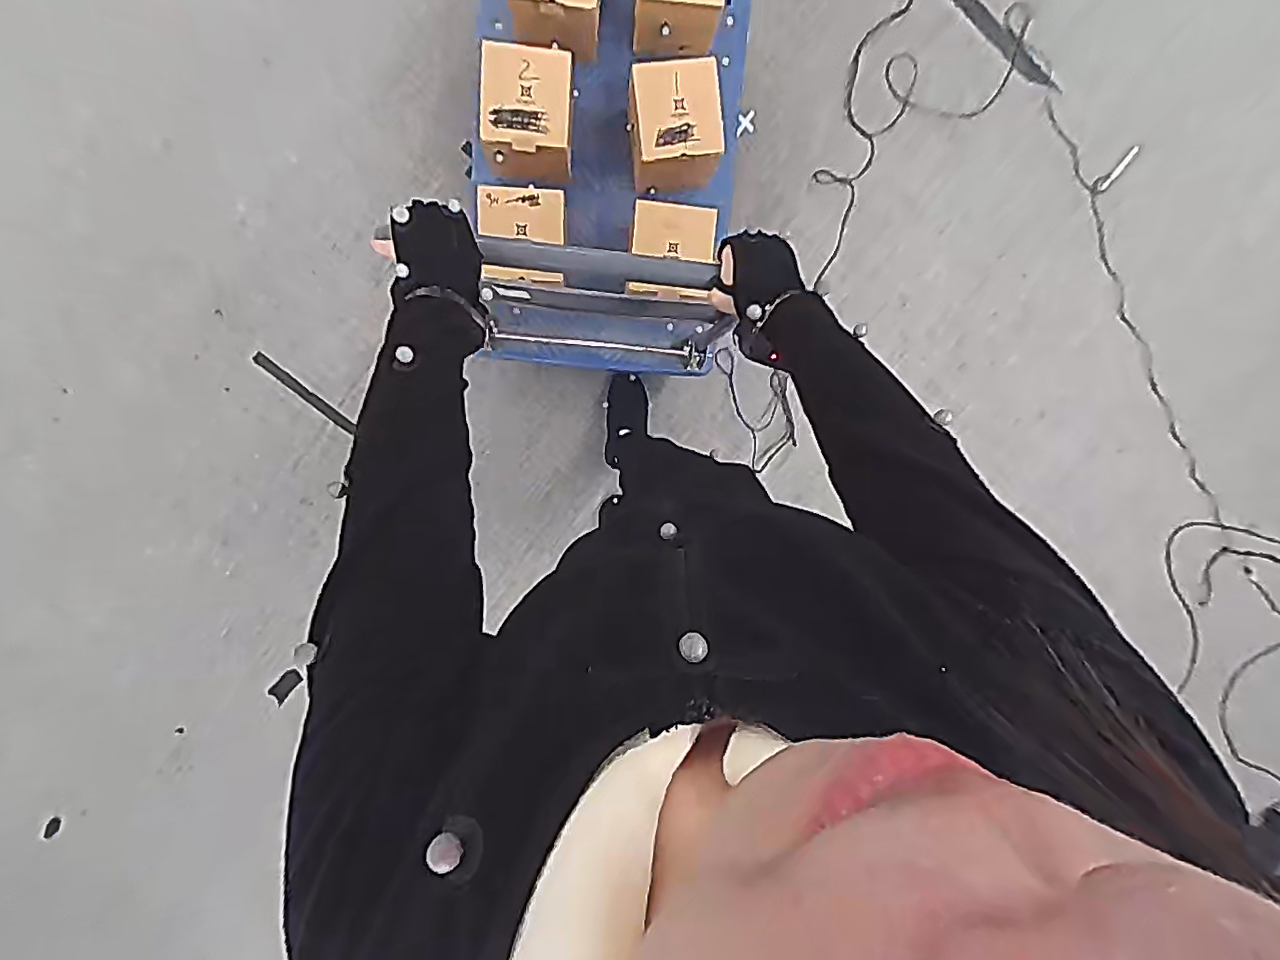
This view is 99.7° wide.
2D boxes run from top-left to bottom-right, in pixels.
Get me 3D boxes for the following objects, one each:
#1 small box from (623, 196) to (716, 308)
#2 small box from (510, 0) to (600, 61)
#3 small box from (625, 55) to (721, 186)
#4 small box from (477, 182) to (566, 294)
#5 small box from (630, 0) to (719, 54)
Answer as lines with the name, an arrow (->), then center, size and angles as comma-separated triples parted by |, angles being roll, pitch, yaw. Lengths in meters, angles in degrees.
small box -> 0.056, -0.477, 1.159 | 0.168, 0.176, 0.179 | 4, 97, -7
small box -> -0.164, -0.981, 1.064 | 0.168, 0.176, 0.179 | 6, 98, -6
small box -> 0.063, -0.732, 1.123 | 0.168, 0.176, 0.179 | -8, 98, -4
small box -> -0.241, -0.492, 1.126 | 0.168, 0.176, 0.179 | 0, 98, -7
small box -> 0.068, -1.003, 1.086 | 0.168, 0.176, 0.179 | 1, 98, -6
